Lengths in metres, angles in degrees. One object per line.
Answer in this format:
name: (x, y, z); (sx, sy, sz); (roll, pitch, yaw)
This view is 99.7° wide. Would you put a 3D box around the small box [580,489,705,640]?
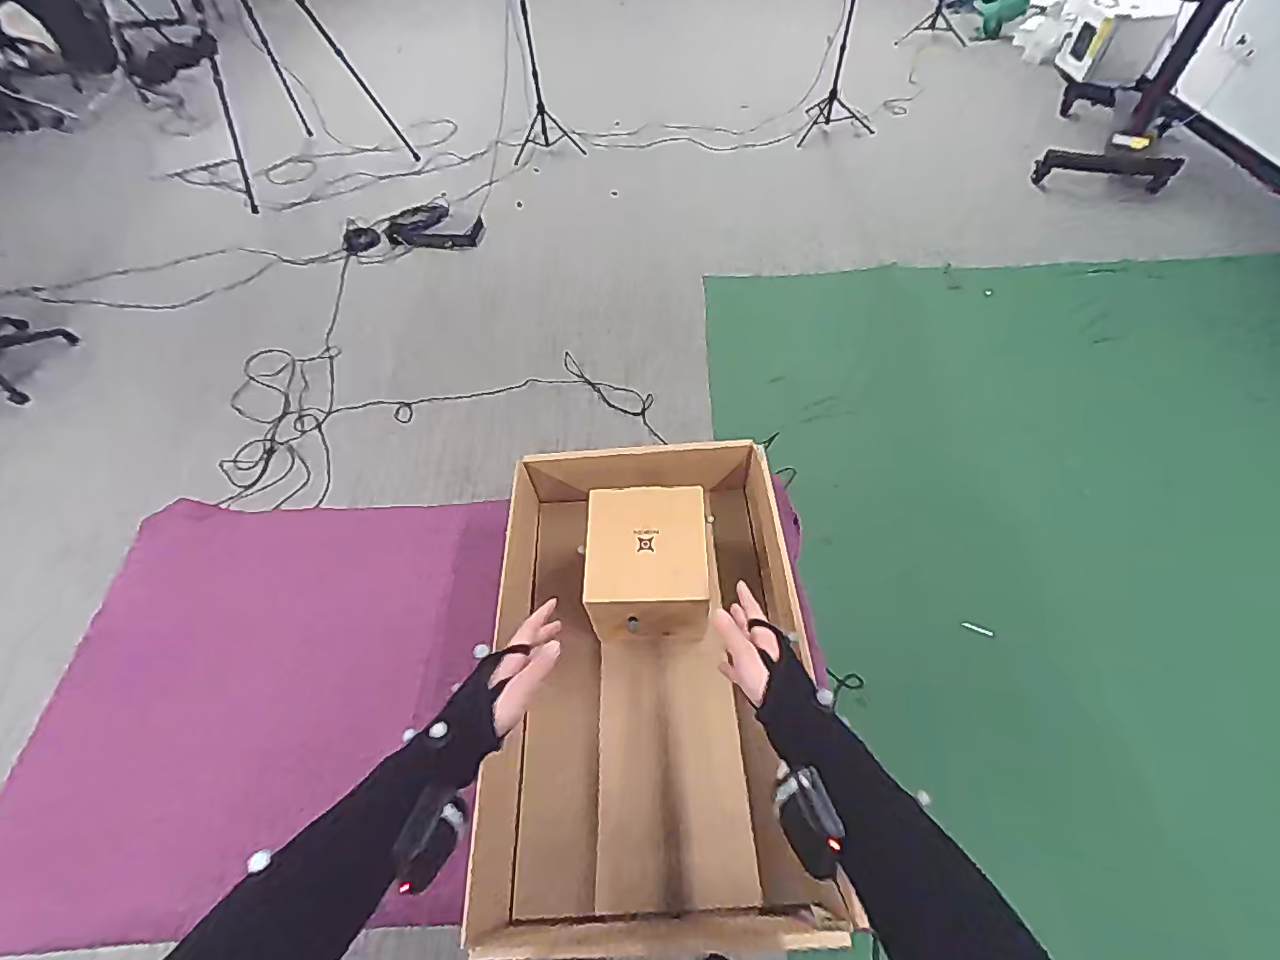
small box: (0.011, 0.133, 0.803); (0.168, 0.176, 0.179); (-2, 55, 4)
